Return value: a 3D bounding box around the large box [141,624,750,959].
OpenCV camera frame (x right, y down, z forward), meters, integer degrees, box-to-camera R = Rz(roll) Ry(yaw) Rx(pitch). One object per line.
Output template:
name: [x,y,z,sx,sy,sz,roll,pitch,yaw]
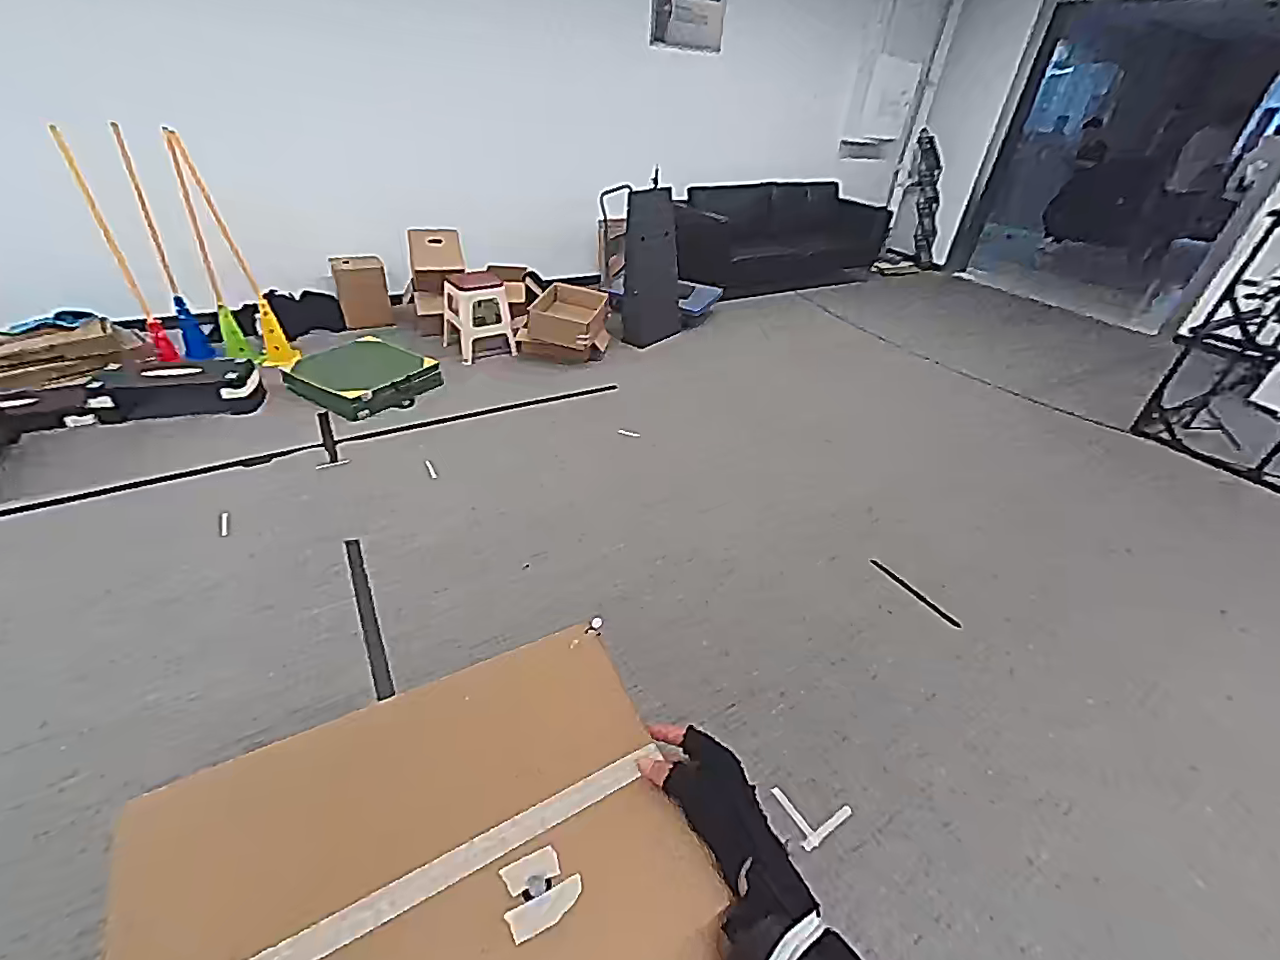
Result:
large box: [-0.173,0.415,0.531,0.408,0.320,0.320,-15,49,-26]
